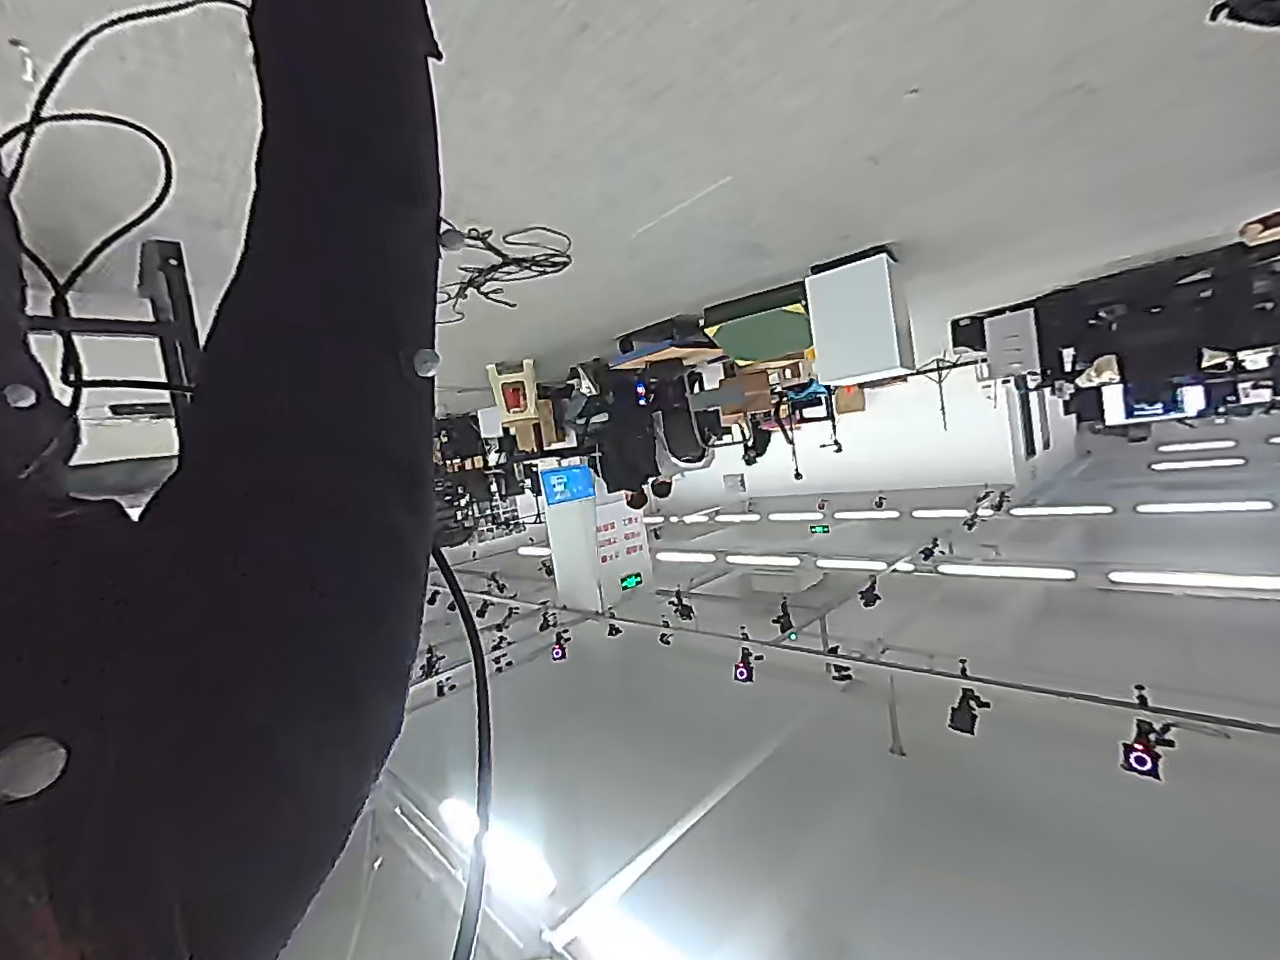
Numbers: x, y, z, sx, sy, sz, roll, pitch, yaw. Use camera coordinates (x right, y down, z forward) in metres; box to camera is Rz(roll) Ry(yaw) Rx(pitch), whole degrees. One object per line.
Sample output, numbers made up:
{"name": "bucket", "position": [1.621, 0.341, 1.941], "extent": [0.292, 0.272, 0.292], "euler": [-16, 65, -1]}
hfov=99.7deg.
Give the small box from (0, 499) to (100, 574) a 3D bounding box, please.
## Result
{"name": "small box", "position": [-1.617, 0.147, 1.474], "extent": [0.168, 0.176, 0.179], "euler": [-11, -176, -35]}
